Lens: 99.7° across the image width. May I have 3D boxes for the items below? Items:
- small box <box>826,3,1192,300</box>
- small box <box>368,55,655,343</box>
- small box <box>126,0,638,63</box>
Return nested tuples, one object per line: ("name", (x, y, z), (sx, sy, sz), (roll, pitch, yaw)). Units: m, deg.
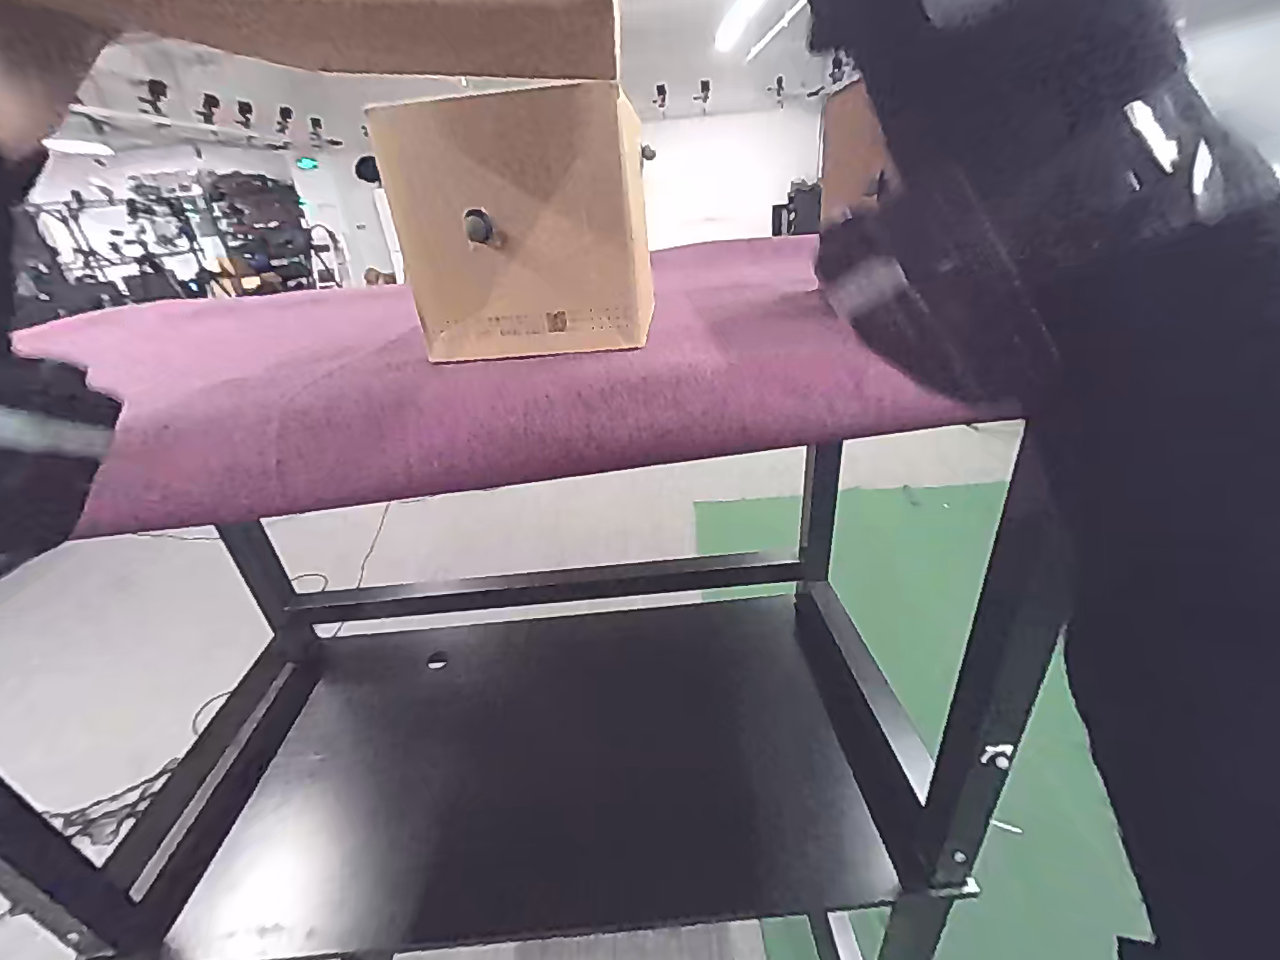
("small box", (0.264, -0.246, 0.442), (0.168, 0.176, 0.179), (-6, 26, -1))
("small box", (-0.077, -0.211, 0.438), (0.168, 0.176, 0.179), (-3, 27, 5))
("small box", (-0.082, -0.243, 0.168), (0.168, 0.176, 0.179), (0, 33, -3))
